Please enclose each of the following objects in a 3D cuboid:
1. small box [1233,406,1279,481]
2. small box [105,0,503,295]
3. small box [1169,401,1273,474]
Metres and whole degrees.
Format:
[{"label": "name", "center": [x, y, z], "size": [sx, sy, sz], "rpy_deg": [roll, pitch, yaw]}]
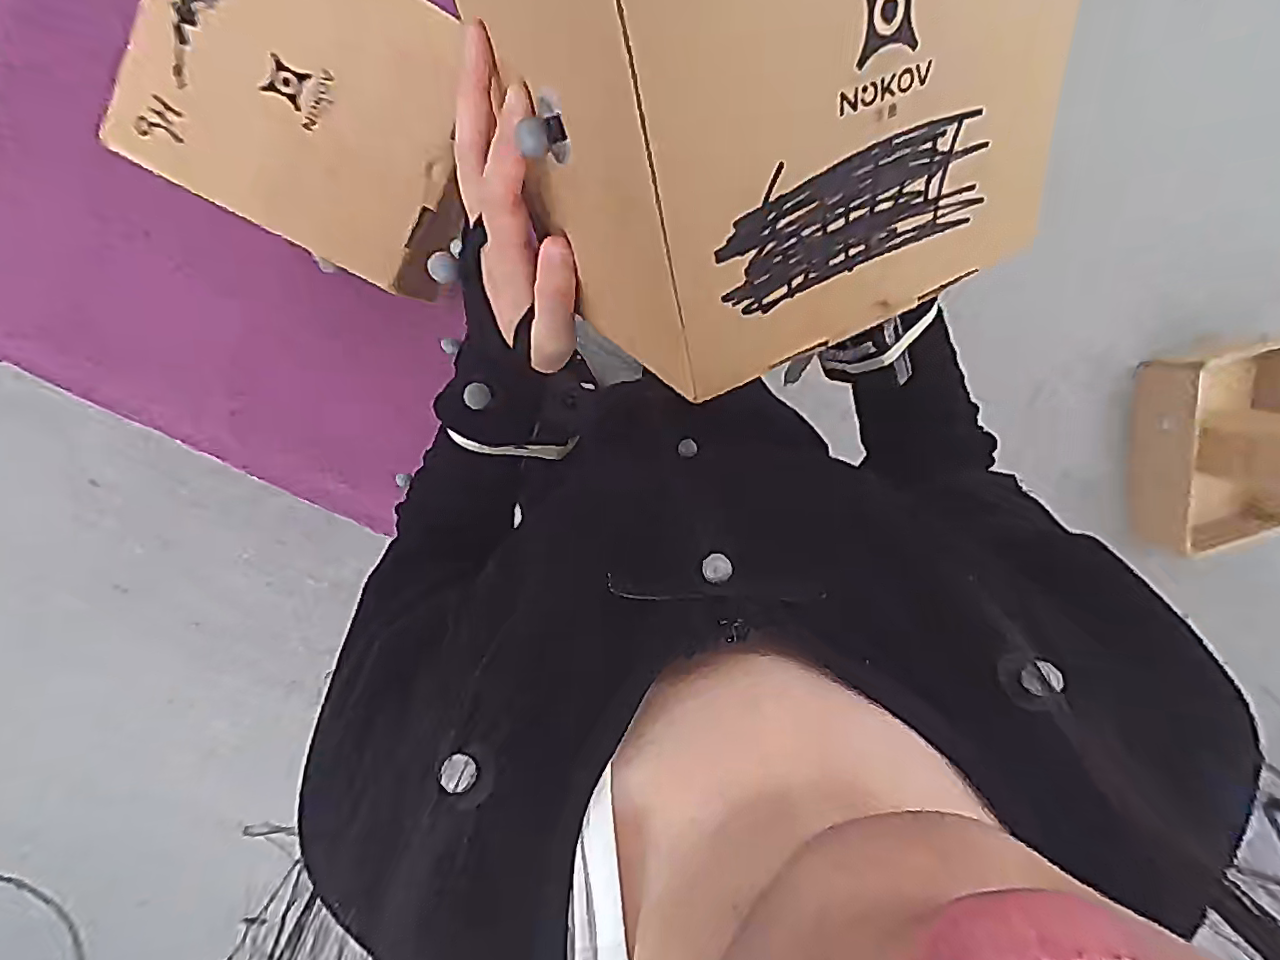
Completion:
[{"label": "small box", "center": [1.831, -0.099, 1.514], "size": [0.179, 0.176, 0.168], "rpy_deg": [-20, 110, -5]}, {"label": "small box", "center": [-0.216, -0.256, 0.403], "size": [0.179, 0.176, 0.168], "rpy_deg": [26, 100, -15]}, {"label": "small box", "center": [1.804, -0.138, 1.669], "size": [0.179, 0.176, 0.168], "rpy_deg": [-15, 108, -4]}]
